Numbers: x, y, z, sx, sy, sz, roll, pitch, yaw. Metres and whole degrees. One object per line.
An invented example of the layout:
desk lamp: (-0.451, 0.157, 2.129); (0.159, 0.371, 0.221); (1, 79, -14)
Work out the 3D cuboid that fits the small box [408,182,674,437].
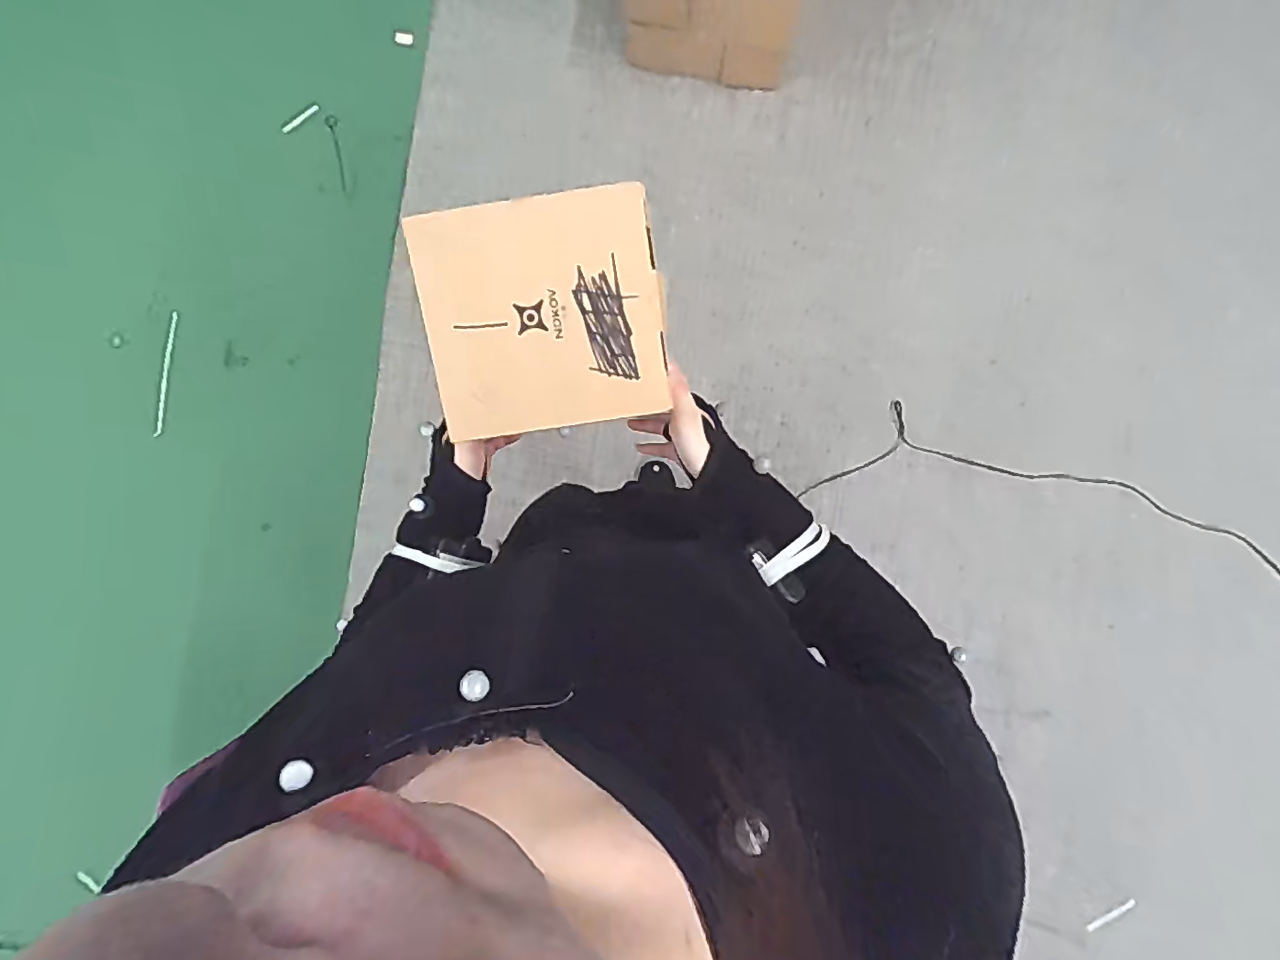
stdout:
small box: (-0.071, -0.138, 0.475); (0.179, 0.176, 0.168); (-7, 101, 1)
